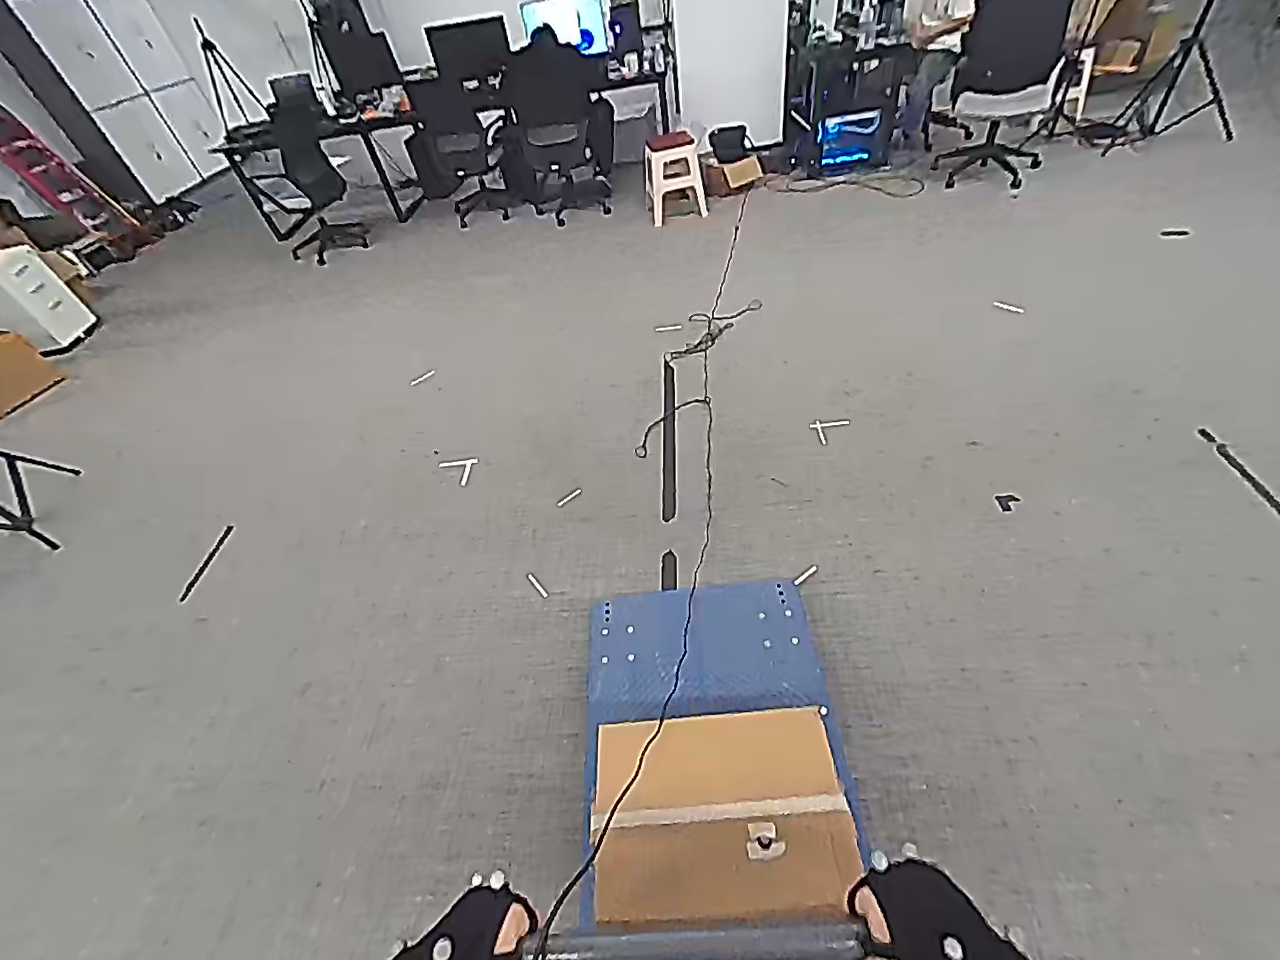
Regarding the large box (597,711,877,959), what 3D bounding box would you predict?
[{"bbox_3d":[0.146,0.649,0.963,0.408,0.320,0.320,-7,44,4],"label":"large box"}]
